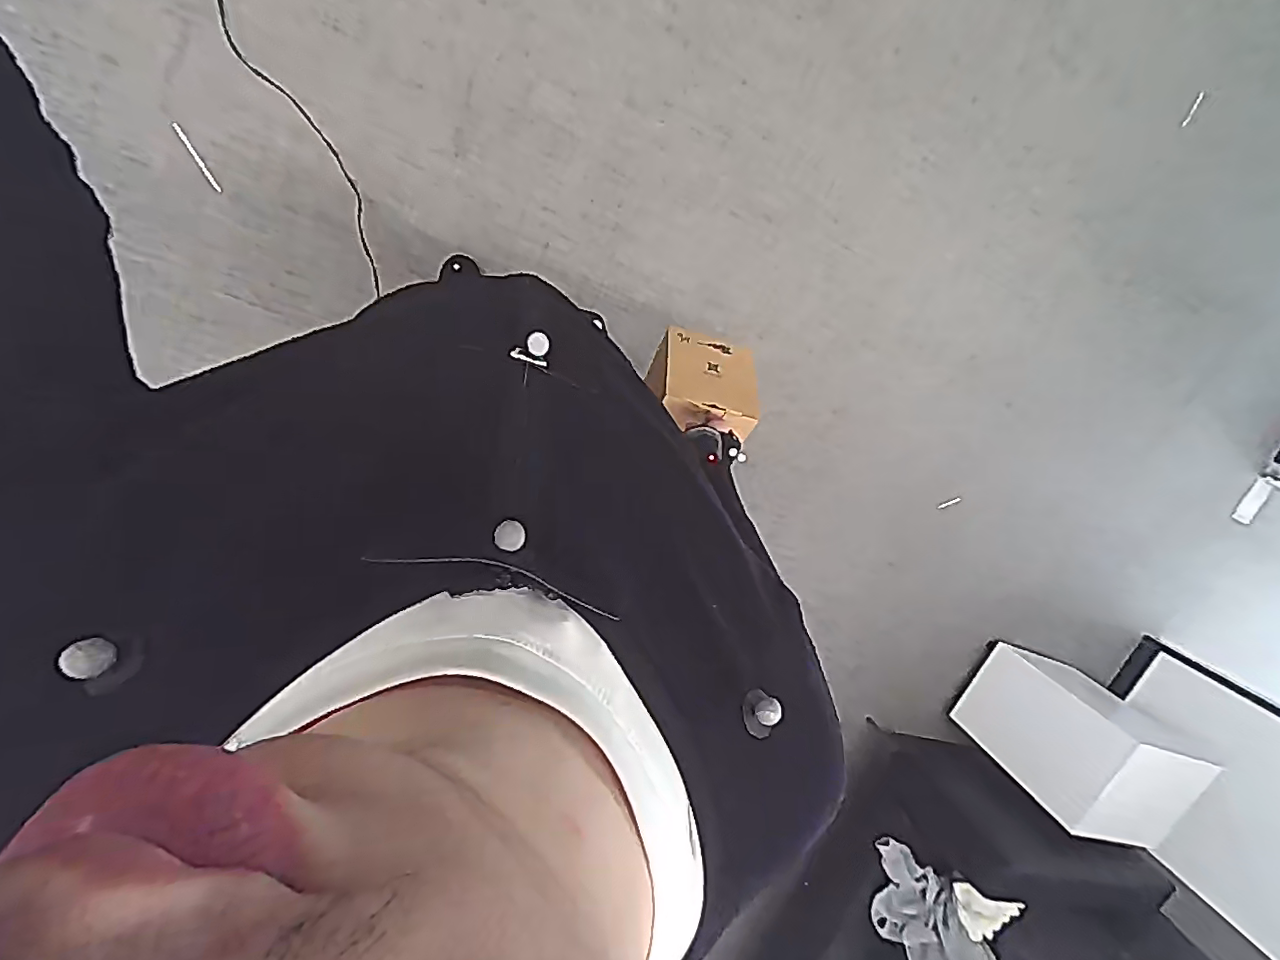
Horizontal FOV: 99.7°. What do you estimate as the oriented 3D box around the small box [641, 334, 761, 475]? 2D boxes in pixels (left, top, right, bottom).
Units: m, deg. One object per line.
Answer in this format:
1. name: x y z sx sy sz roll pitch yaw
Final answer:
1. small box: 0.104 -0.131 0.984 0.168 0.179 0.176 10 143 -12
